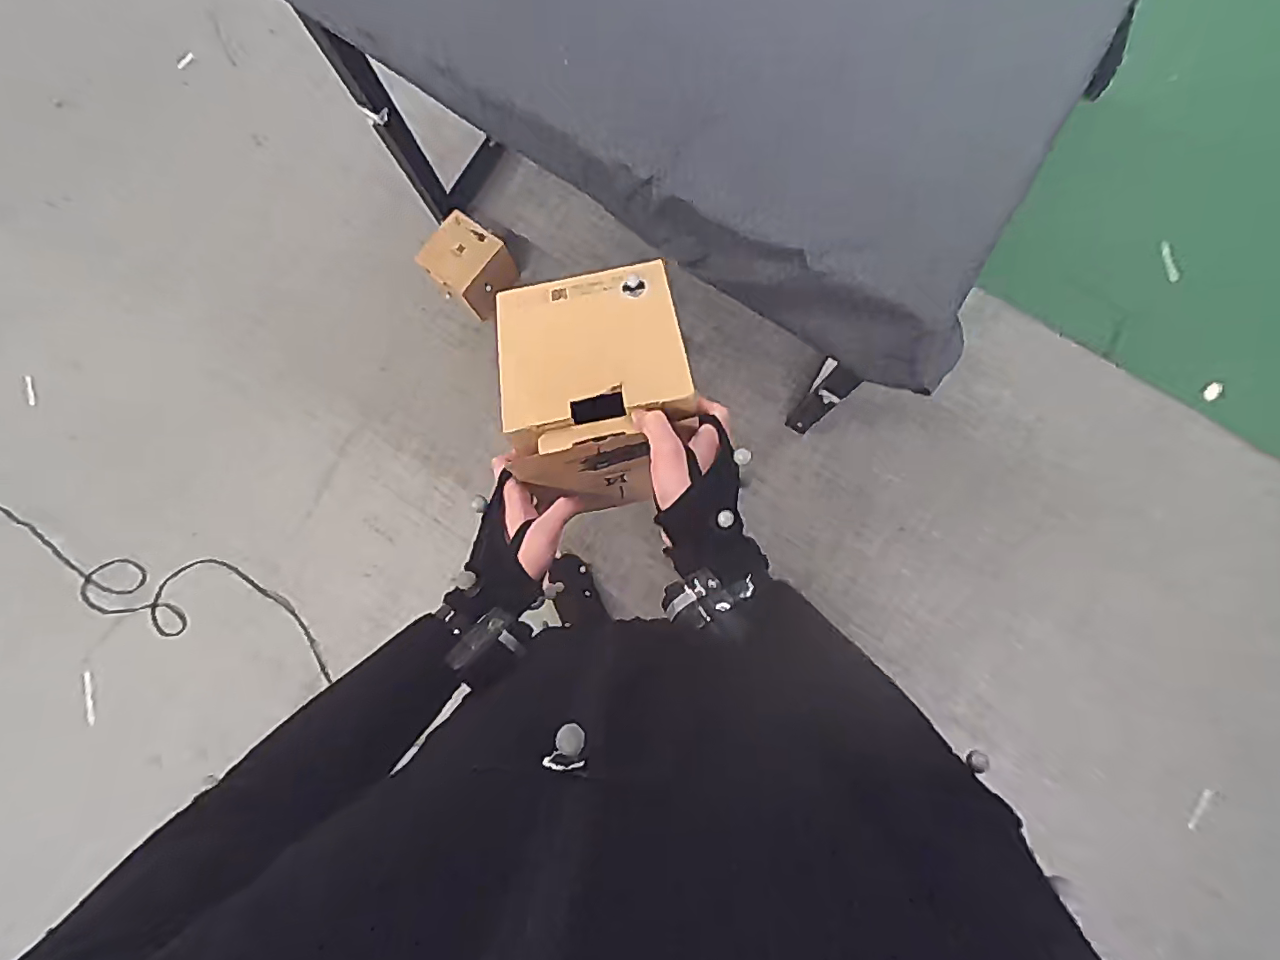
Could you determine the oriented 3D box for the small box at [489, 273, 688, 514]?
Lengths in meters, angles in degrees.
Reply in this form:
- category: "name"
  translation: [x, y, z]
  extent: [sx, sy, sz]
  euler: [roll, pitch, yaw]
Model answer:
- category: "small box"
  translation: [-0.049, -0.087, 0.553]
  extent: [0.168, 0.179, 0.176]
  euler: [-10, 62, 3]
